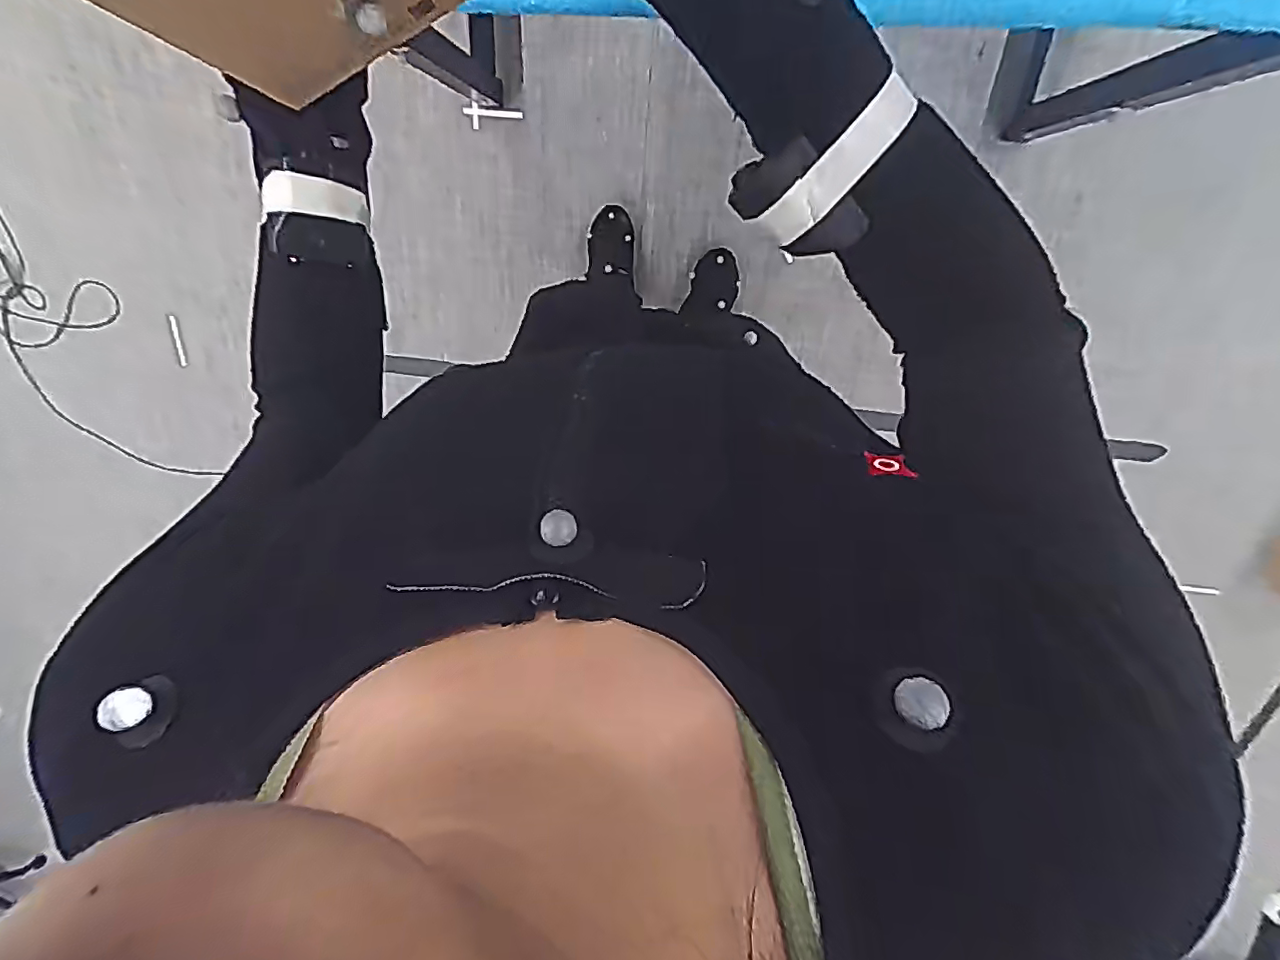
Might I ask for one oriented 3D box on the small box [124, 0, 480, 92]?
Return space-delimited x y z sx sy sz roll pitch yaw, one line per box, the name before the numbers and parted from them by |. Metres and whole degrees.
small box | -0.184 -0.313 0.229 0.168 0.176 0.179 -21 112 7
